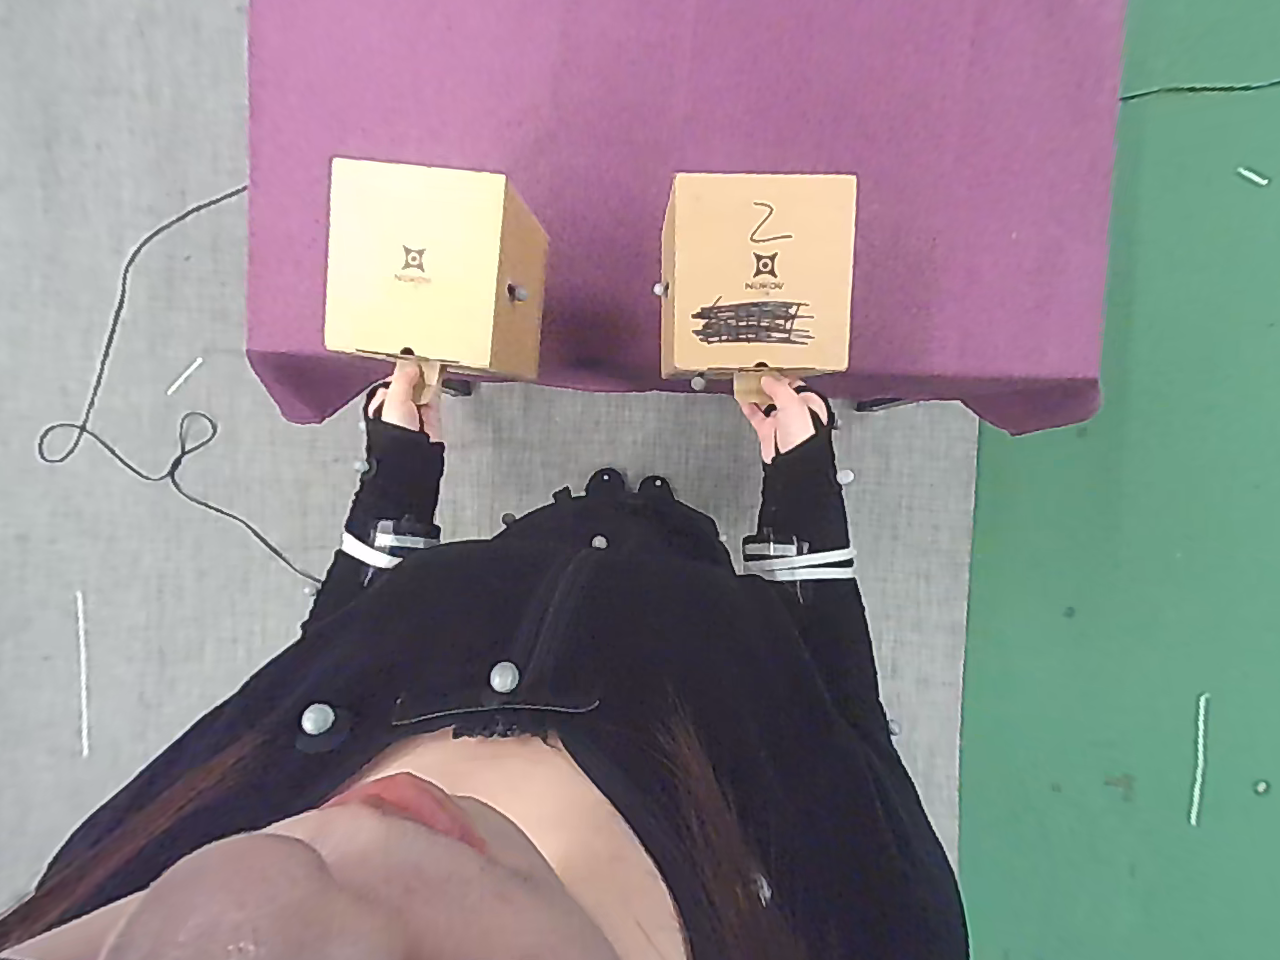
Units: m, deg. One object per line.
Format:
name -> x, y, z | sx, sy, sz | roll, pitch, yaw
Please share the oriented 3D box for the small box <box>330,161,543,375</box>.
small box -> -0.210, -0.217, 0.598 | 0.168, 0.176, 0.179 | 7, 99, 3
